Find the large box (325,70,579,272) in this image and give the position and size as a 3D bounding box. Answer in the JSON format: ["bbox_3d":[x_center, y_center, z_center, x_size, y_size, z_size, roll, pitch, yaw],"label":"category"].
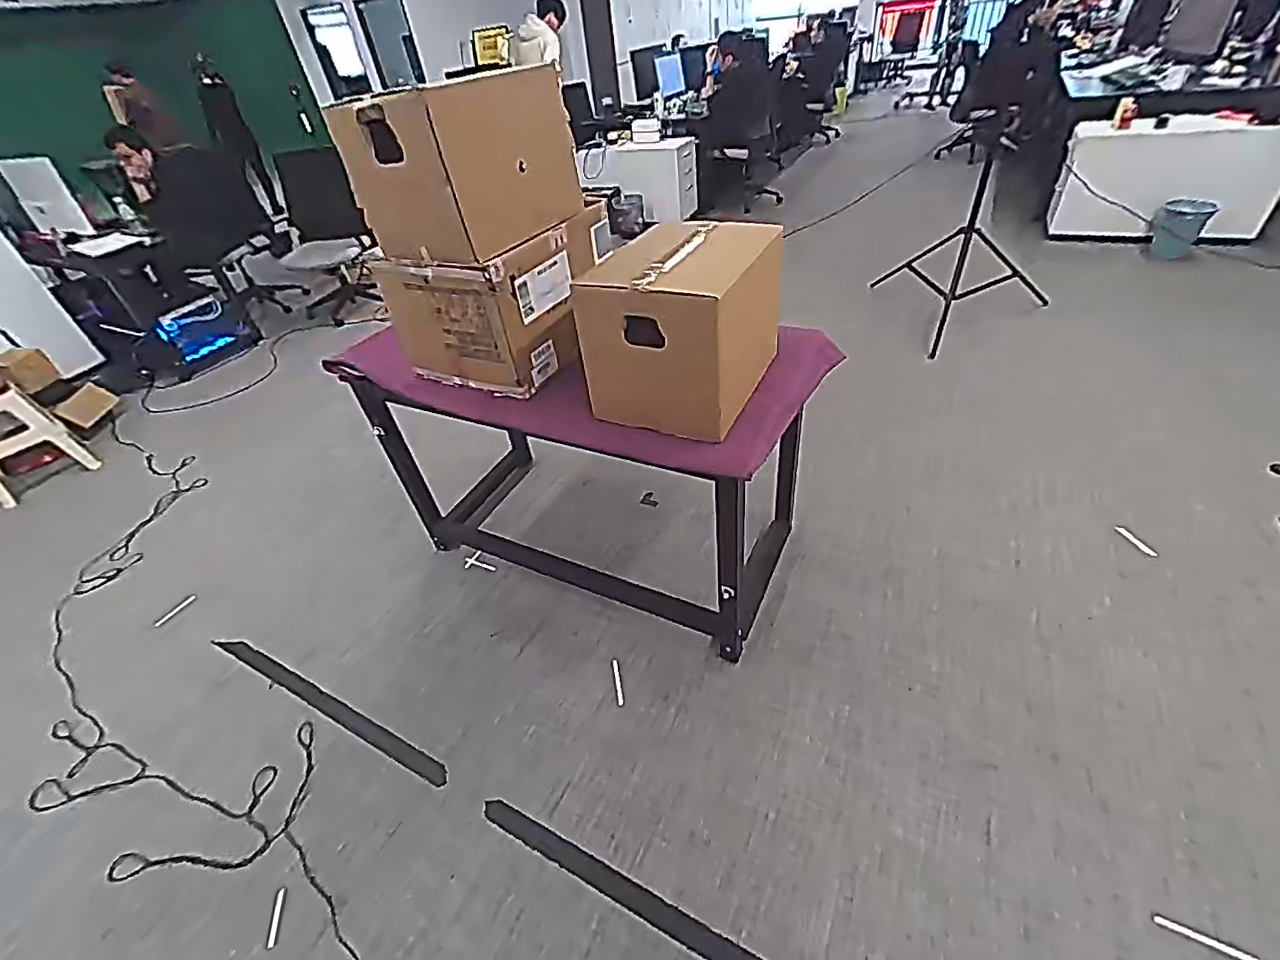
[{"bbox_3d":[-0.396,-0.710,1.247,0.320,0.320,0.408,12,44,28],"label":"large box"}]
